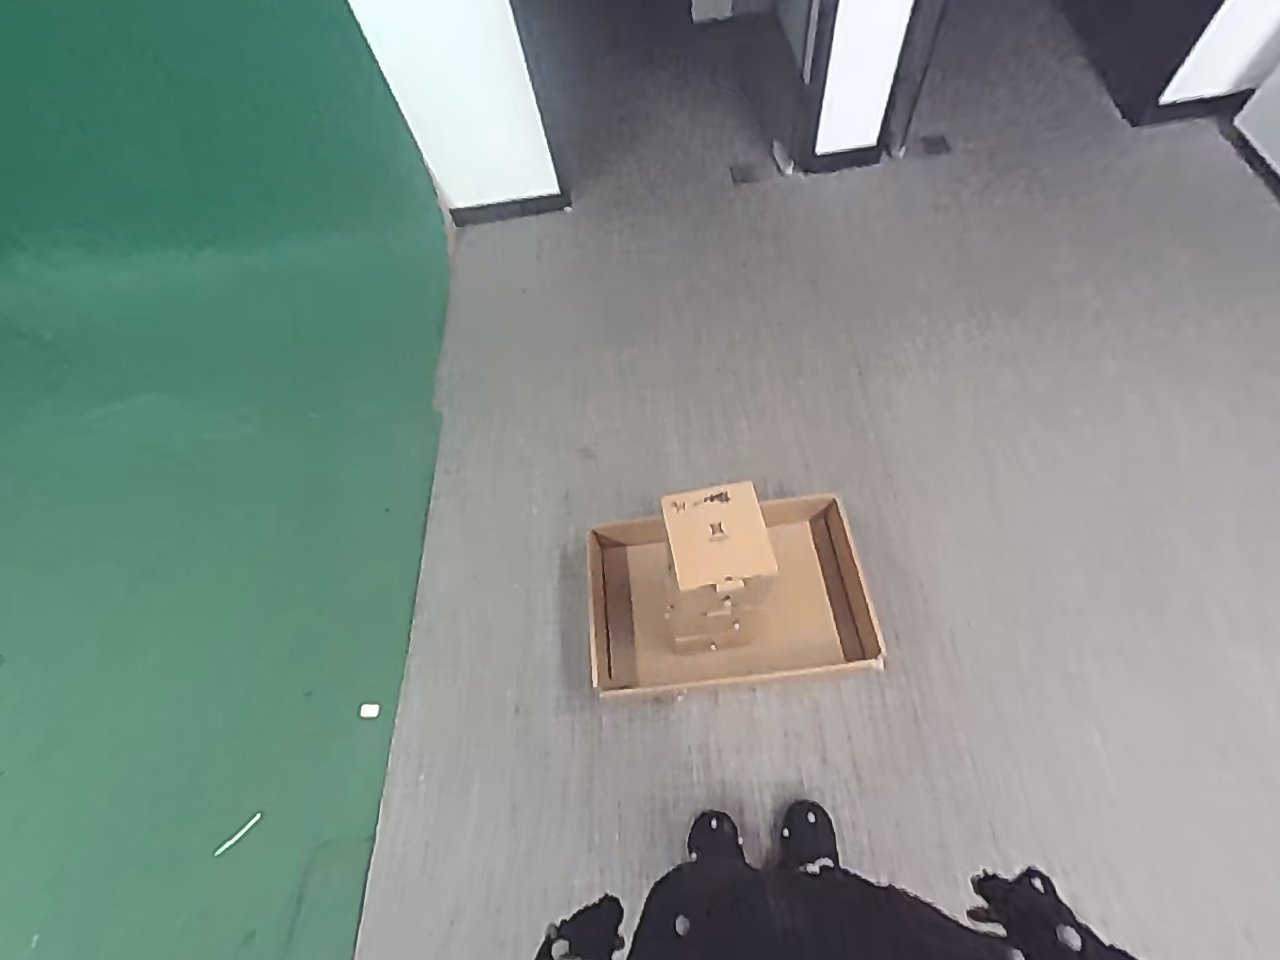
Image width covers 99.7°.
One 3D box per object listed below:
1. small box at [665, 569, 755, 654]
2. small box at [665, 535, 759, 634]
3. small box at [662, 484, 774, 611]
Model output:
[{"bbox_3d":[0.159,0.298,1.256,0.179,0.176,0.168,-9,61,4],"label":"small box"},{"bbox_3d":[0.145,0.214,1.120,0.168,0.176,0.179,-7,60,1],"label":"small box"},{"bbox_3d":[0.136,0.131,0.979,0.168,0.176,0.179,-9,62,1],"label":"small box"}]
